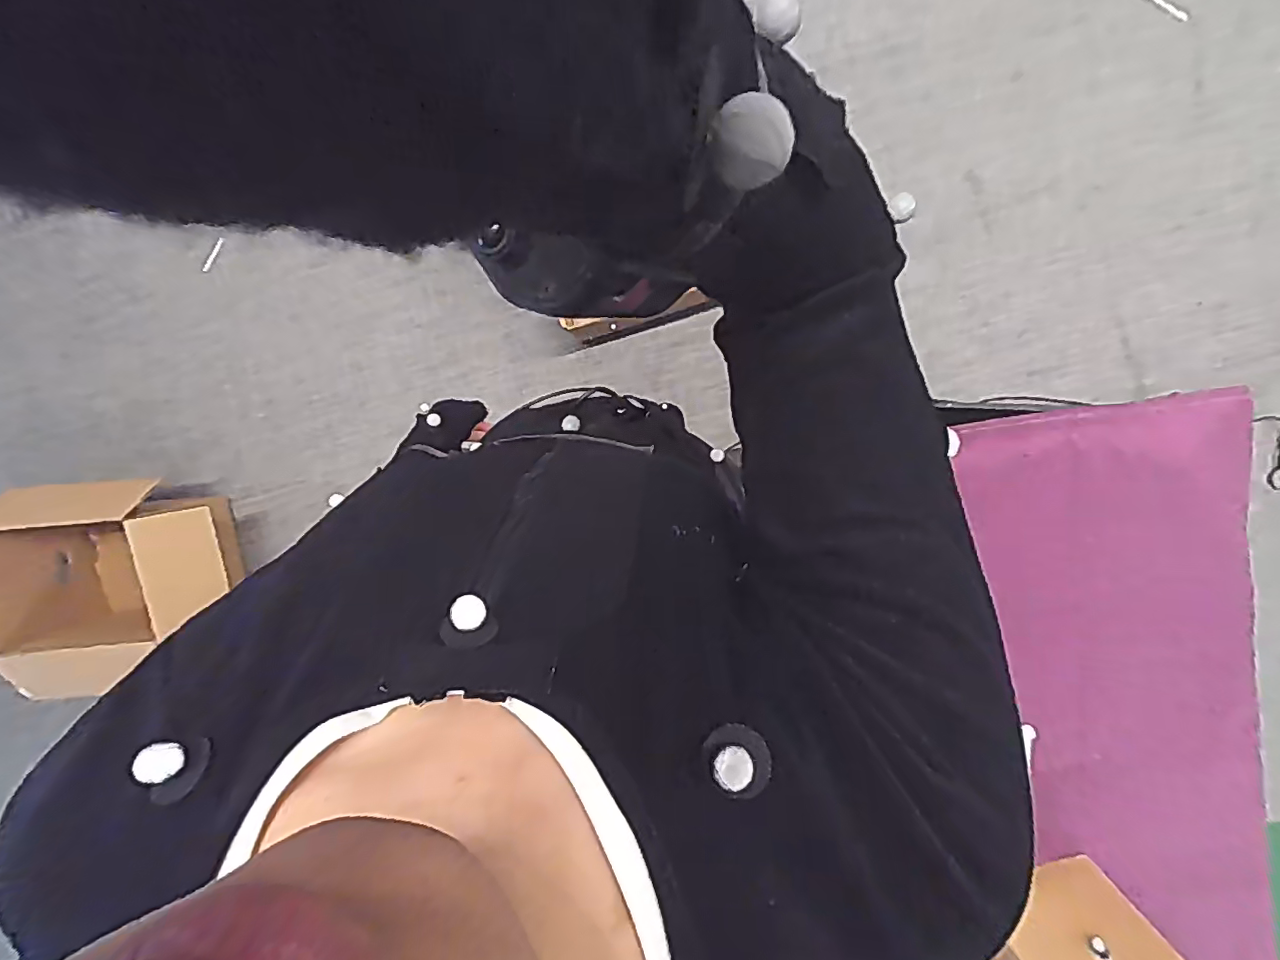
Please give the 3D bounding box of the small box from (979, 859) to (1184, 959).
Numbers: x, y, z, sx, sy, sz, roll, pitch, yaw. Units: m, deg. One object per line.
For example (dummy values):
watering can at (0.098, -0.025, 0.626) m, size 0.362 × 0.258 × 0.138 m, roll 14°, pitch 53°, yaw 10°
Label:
small box at (0.593, 0.663, 0.731) m, size 0.179 × 0.176 × 0.168 m, roll -16°, pitch 97°, yaw 3°
